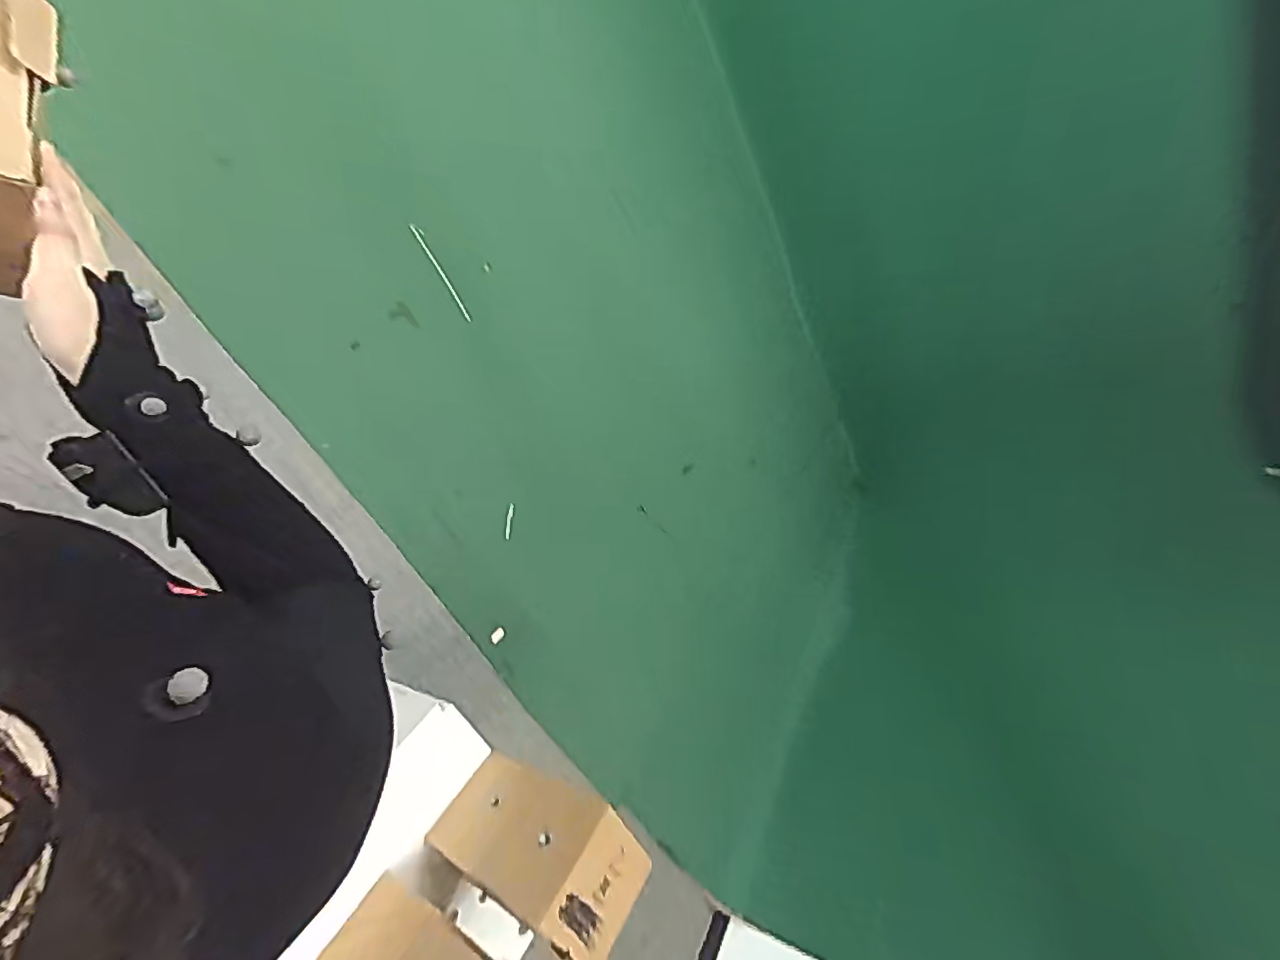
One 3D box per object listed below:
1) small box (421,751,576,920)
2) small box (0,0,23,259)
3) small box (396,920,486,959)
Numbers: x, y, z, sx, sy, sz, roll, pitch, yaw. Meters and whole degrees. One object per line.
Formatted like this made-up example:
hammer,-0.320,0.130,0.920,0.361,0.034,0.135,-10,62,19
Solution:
small box,-0.256,0.631,0.983,0.179,0.176,0.168,-48,120,-38
small box,-0.434,-0.223,0.262,0.179,0.176,0.168,0,83,-48
small box,-0.259,0.738,0.718,0.168,0.176,0.179,-47,120,-40
